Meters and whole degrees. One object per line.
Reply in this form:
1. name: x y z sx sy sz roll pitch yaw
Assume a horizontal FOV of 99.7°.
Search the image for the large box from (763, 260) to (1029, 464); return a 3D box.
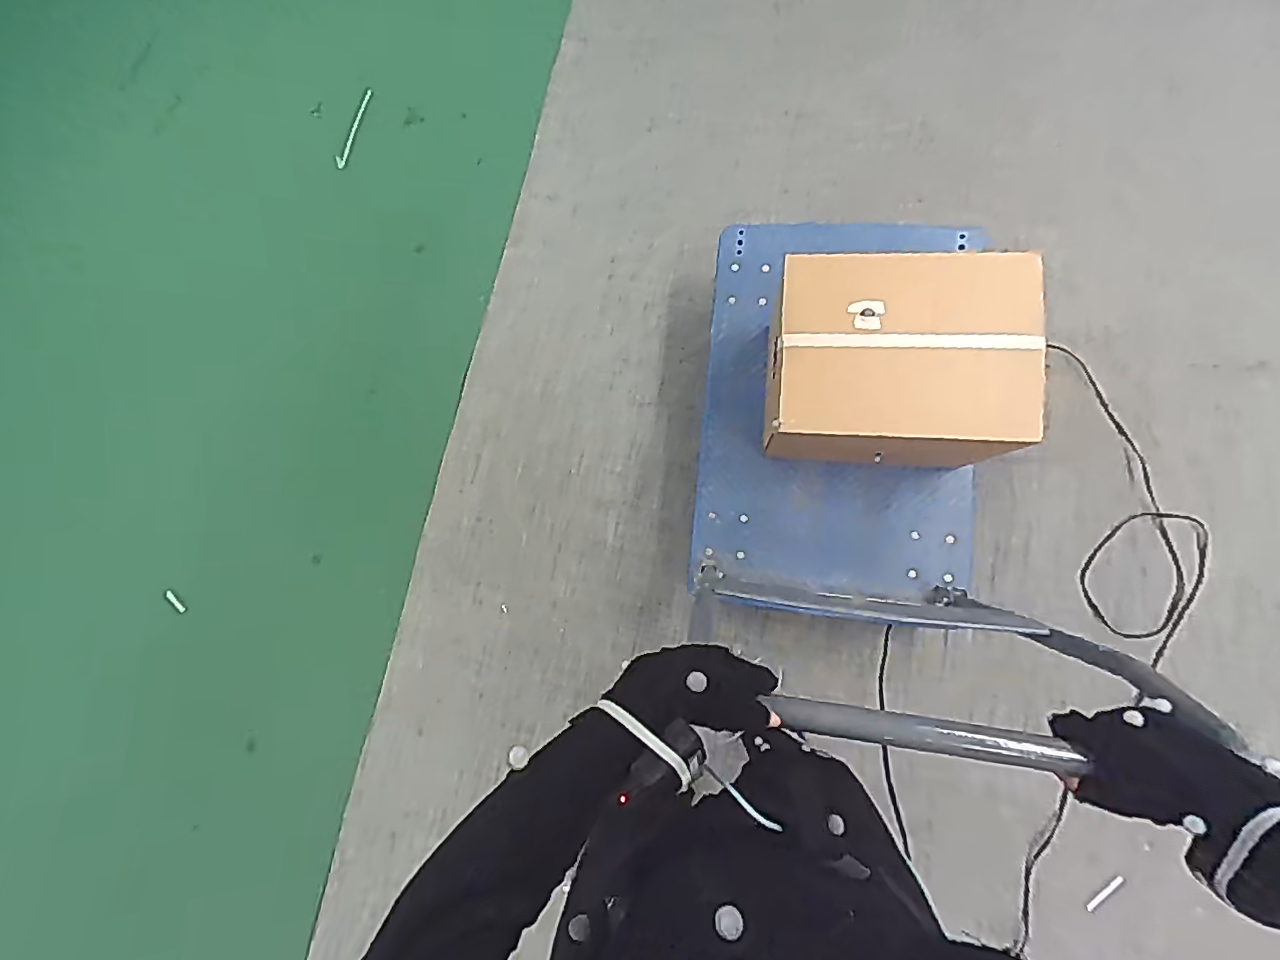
1. large box: 0.456 -0.200 1.049 0.408 0.320 0.320 2 84 10
